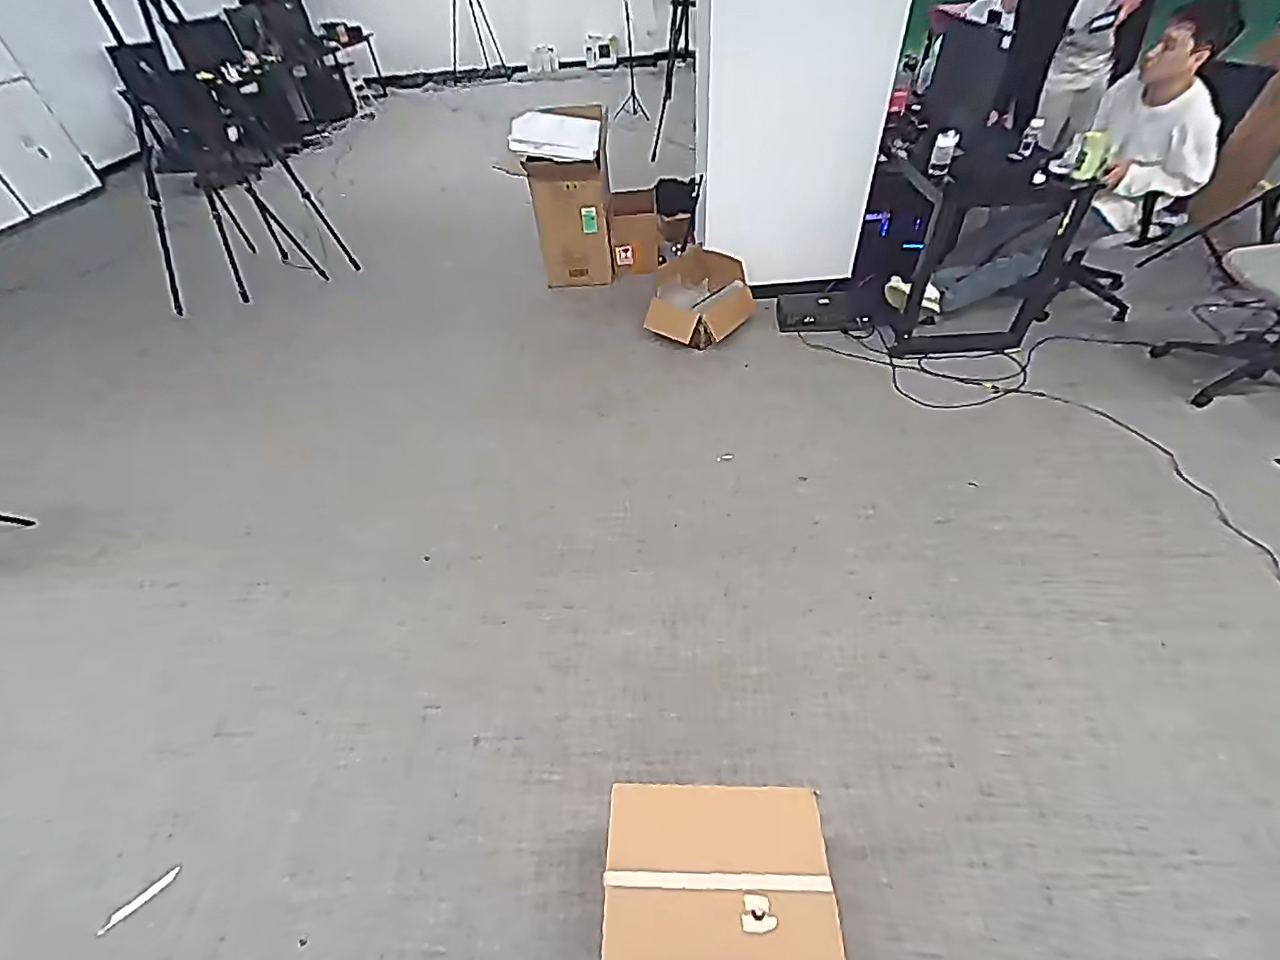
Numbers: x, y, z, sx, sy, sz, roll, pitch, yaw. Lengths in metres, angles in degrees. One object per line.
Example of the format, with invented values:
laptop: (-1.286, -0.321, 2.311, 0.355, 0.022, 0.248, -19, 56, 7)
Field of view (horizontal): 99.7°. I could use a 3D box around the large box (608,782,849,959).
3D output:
large box: (0.152, 0.819, 1.075, 0.408, 0.320, 0.320, -1, 46, 3)
